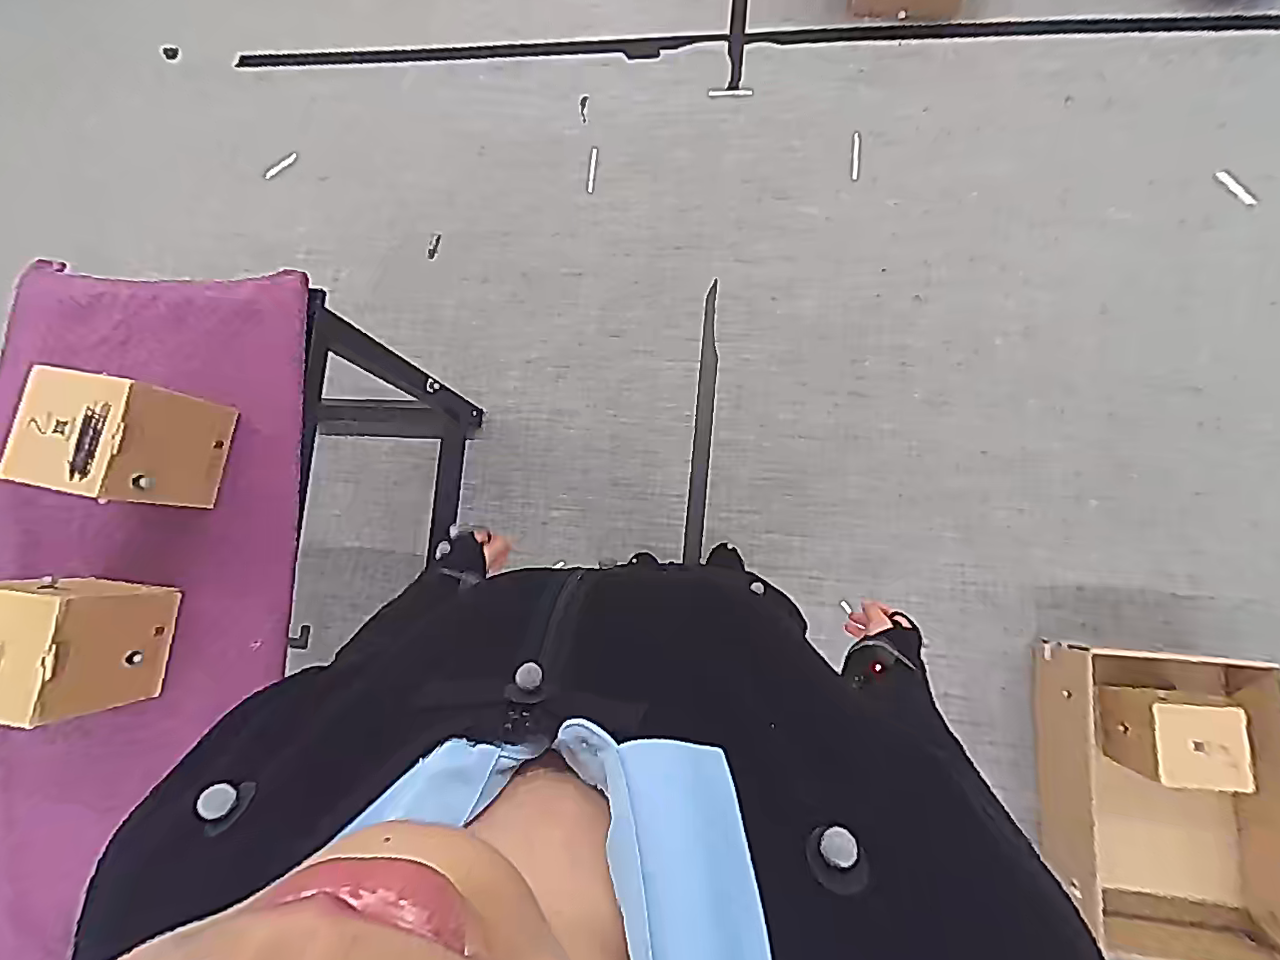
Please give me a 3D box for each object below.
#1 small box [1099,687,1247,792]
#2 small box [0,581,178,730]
[{"bbox_3d":[1.169,0.568,1.205,0.179,0.176,0.168,1,83,6],"label":"small box"},{"bbox_3d":[-0.832,0.237,0.775,0.179,0.176,0.168,5,82,7],"label":"small box"}]
